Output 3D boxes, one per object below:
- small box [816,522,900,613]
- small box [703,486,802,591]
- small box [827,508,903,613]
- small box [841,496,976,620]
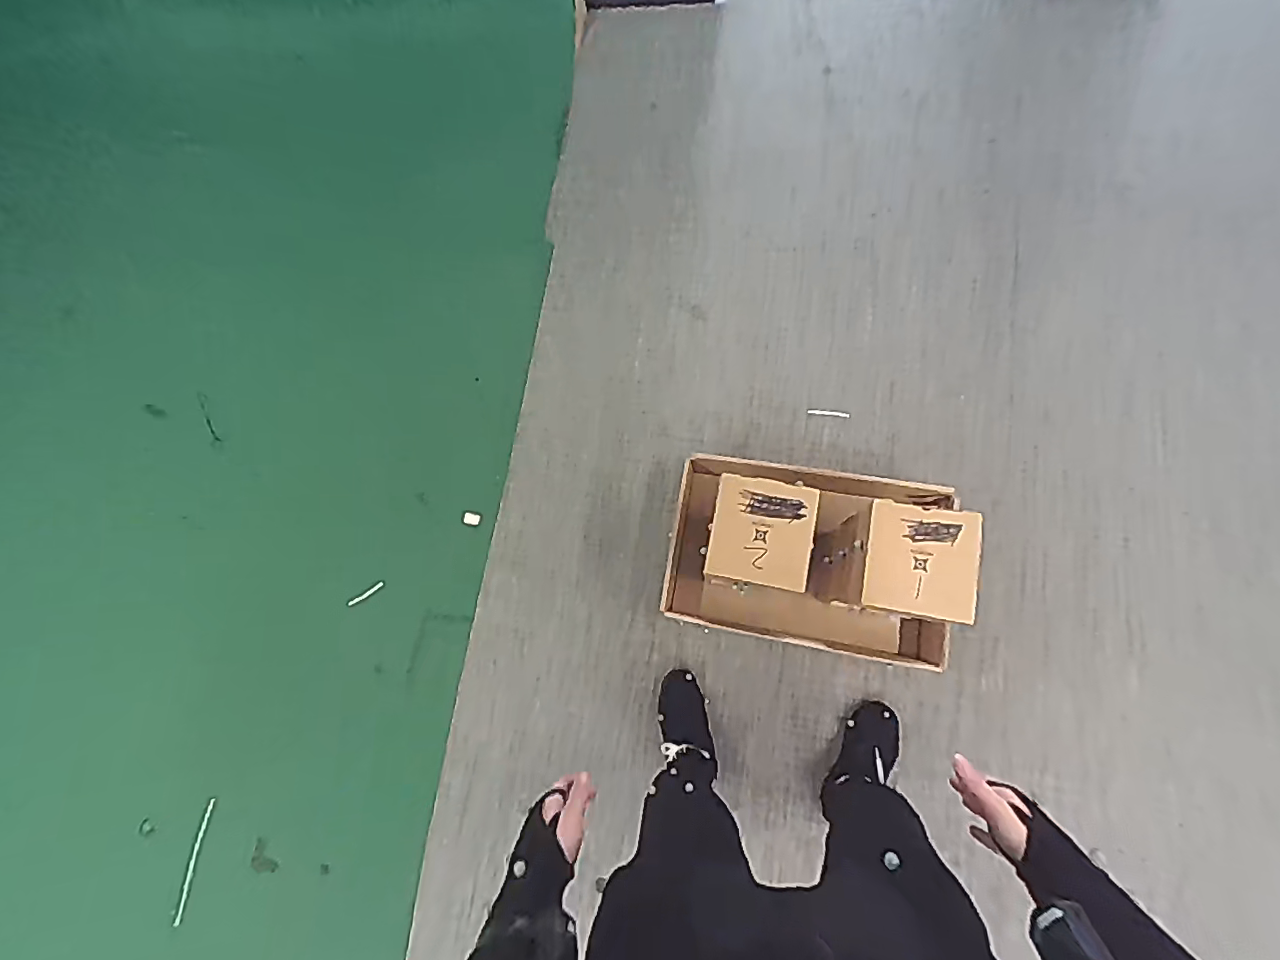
[{"bbox_3d":[0.513,0.206,1.259,0.168,0.176,0.179,8,79,11],"label":"small box"},{"bbox_3d":[0.233,0.130,1.144,0.168,0.176,0.179,13,79,11],"label":"small box"},{"bbox_3d":[0.488,0.168,1.103,0.168,0.176,0.179,10,80,12],"label":"small box"},{"bbox_3d":[0.459,0.138,0.944,0.168,0.176,0.179,9,80,12],"label":"small box"}]
